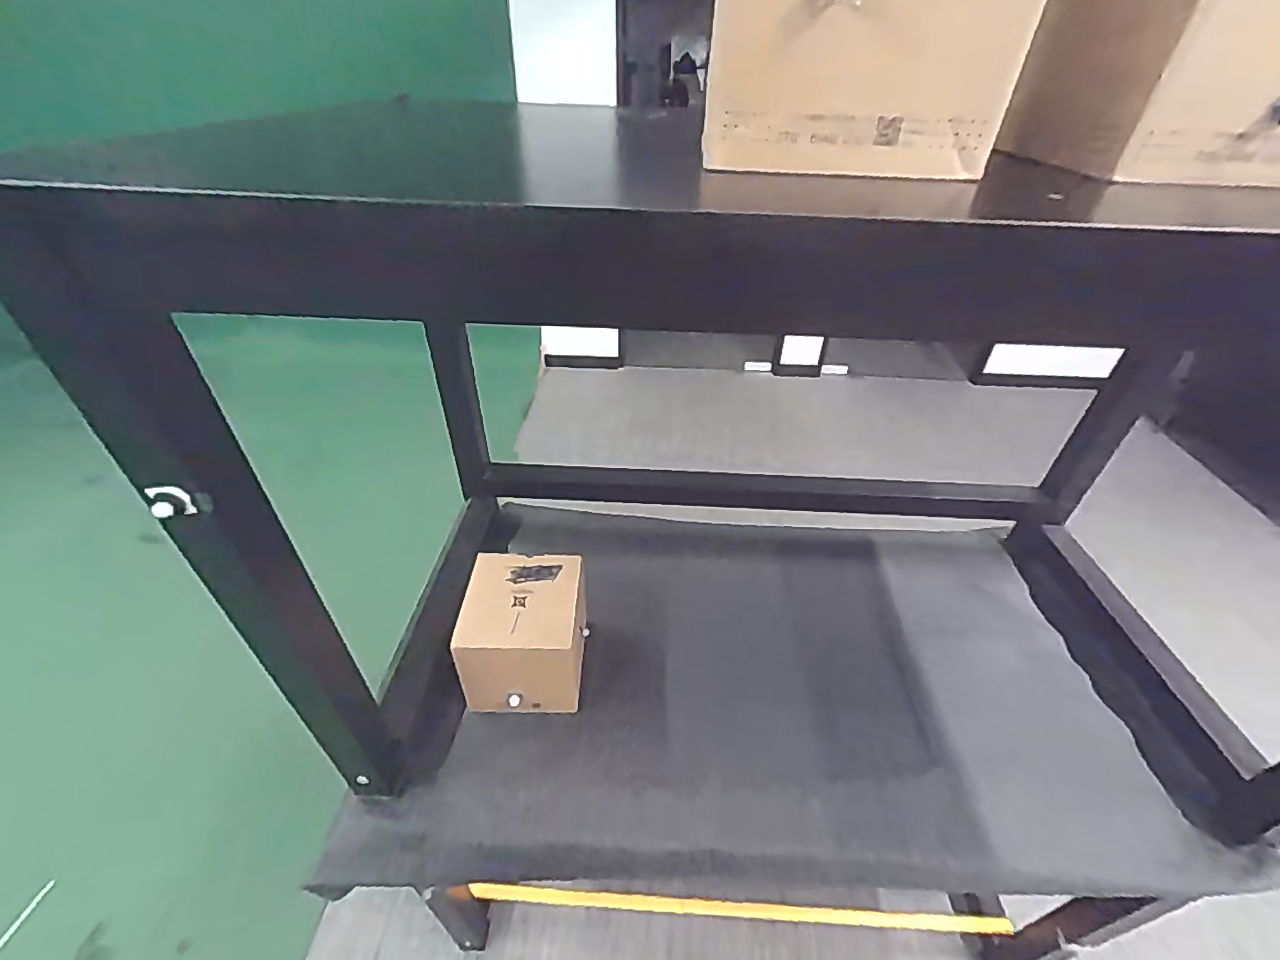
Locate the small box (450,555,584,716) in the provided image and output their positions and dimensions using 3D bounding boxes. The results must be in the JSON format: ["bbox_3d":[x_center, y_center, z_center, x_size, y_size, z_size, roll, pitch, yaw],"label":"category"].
[{"bbox_3d":[-0.176,0.237,0.836,0.168,0.176,0.179,1,38,-1],"label":"small box"}]

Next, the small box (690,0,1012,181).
[{"bbox_3d":[0.121,-0.298,0.345,0.168,0.176,0.179,4,37,4],"label":"small box"}]
